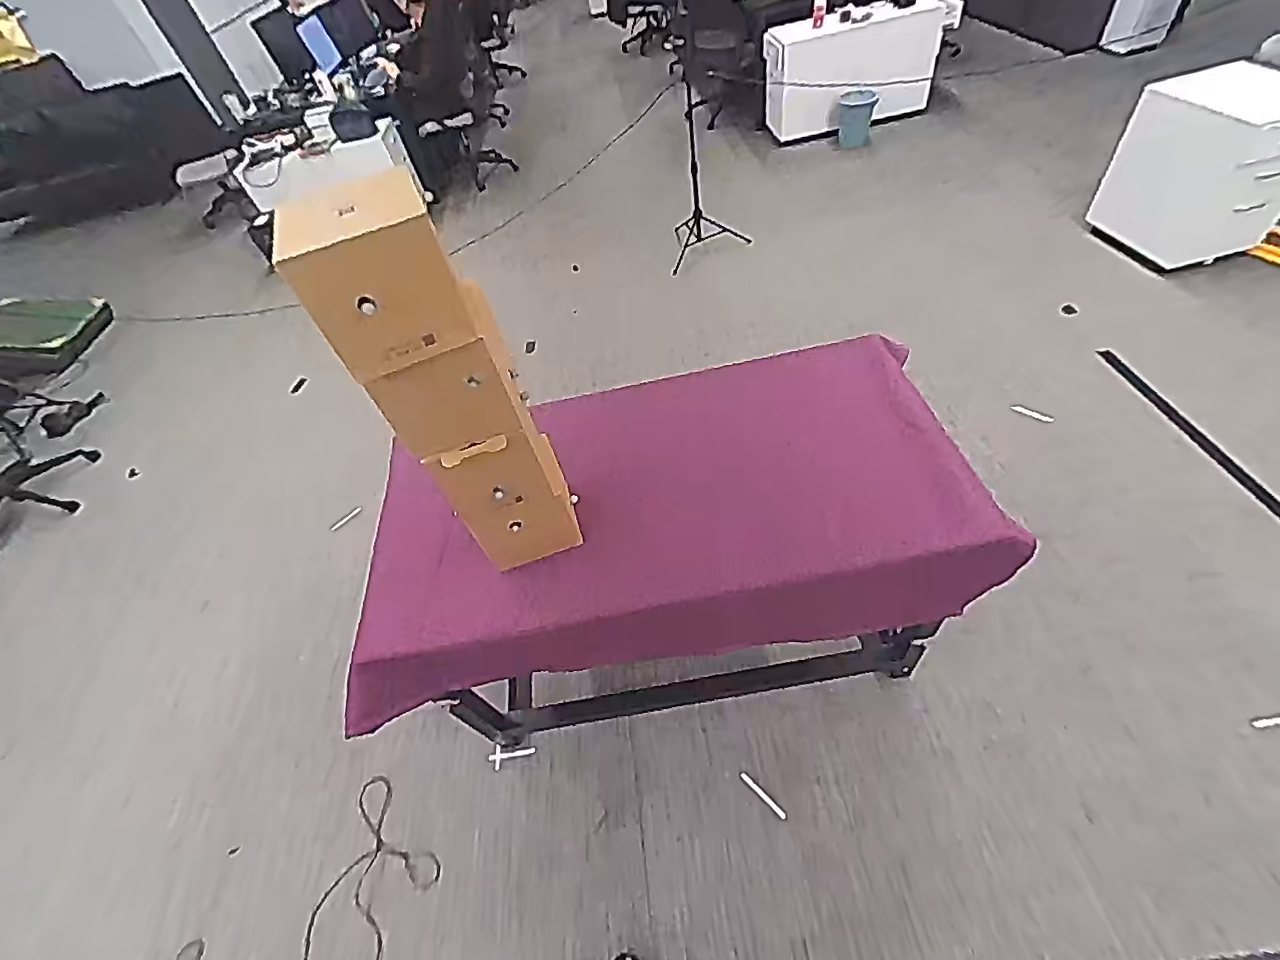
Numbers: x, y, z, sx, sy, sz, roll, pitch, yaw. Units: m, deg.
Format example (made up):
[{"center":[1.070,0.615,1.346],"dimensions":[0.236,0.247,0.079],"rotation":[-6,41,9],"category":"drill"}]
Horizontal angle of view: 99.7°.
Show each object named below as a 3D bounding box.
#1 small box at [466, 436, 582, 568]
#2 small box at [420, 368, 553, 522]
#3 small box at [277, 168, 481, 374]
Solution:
[{"center":[-0.228,0.047,1.058],"dimensions":[0.179,0.176,0.168],"rotation":[-18,50,-4],"category":"small box"},{"center":[-0.263,-0.058,0.936],"dimensions":[0.168,0.176,0.179],"rotation":[-20,50,-4],"category":"small box"},{"center":[-0.318,-0.255,0.679],"dimensions":[0.168,0.176,0.179],"rotation":[-24,50,-9],"category":"small box"}]
